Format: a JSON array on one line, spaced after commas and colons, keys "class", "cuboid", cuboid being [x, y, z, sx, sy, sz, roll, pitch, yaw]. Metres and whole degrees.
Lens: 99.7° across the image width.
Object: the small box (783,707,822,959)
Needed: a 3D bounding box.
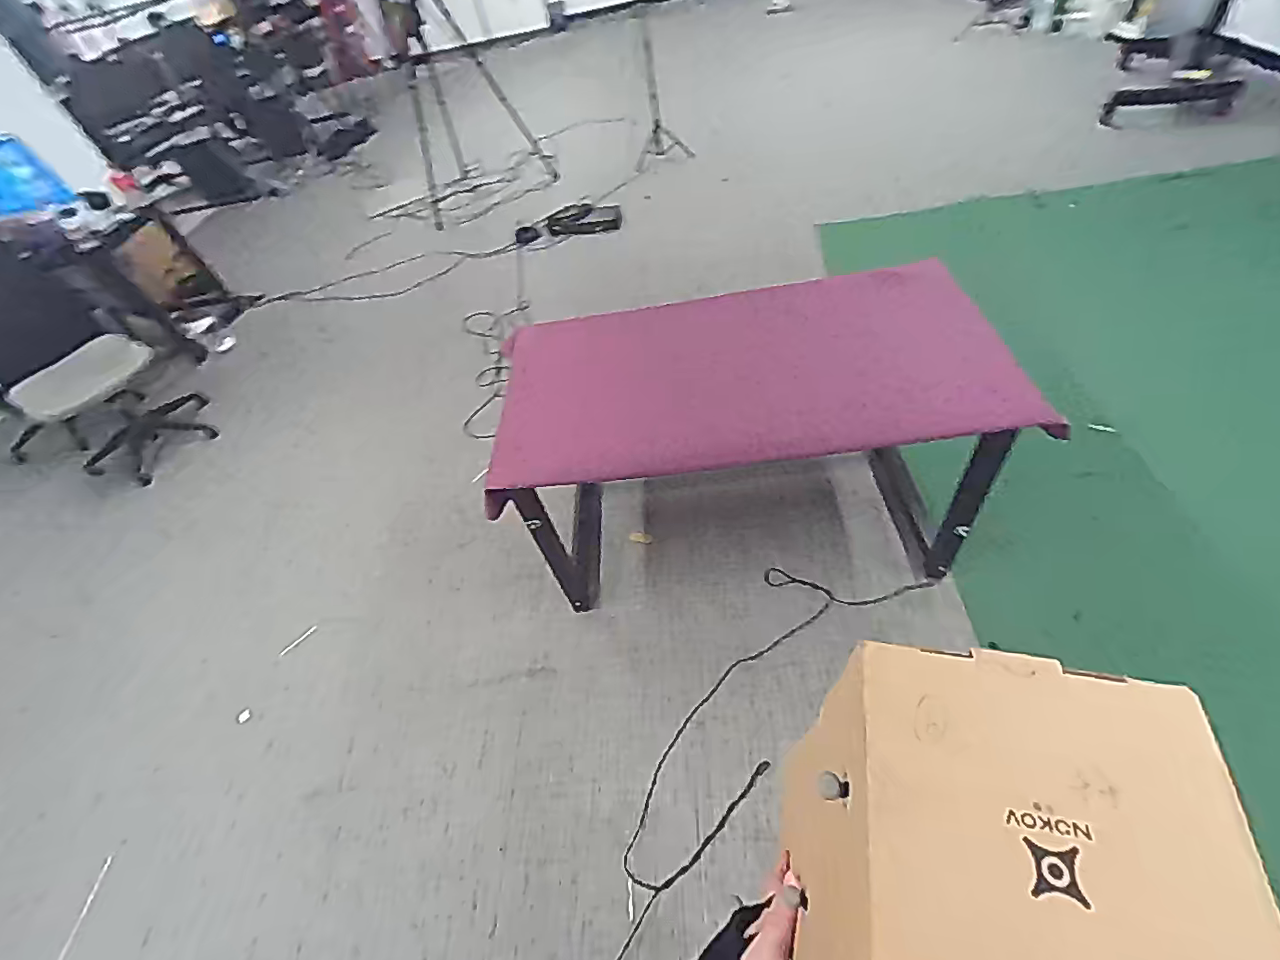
[{"class": "small box", "cuboid": [0.212, 0.310, 0.443, 0.168, 0.176, 0.179, 7, 56, 13]}]
